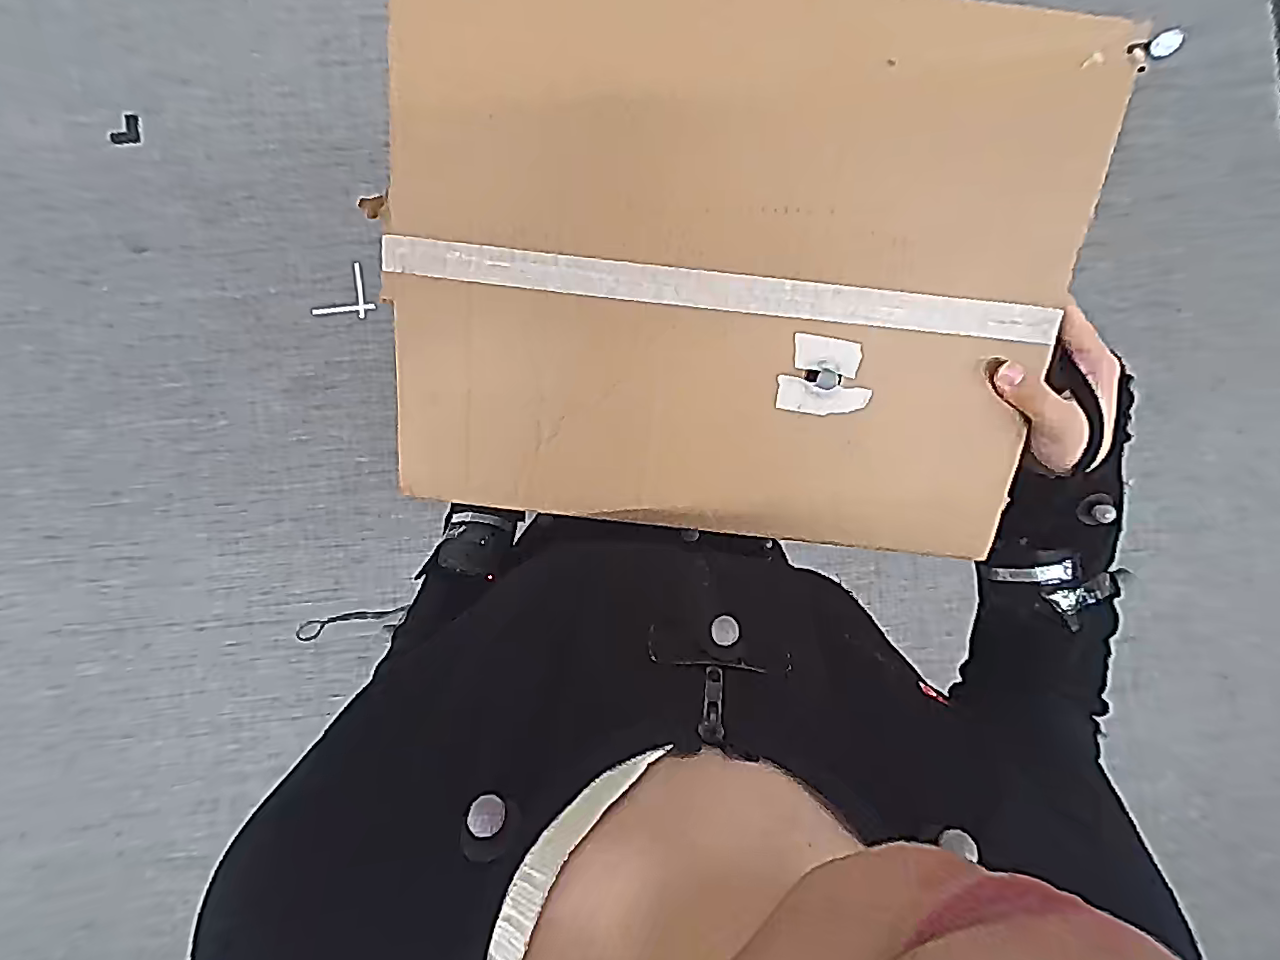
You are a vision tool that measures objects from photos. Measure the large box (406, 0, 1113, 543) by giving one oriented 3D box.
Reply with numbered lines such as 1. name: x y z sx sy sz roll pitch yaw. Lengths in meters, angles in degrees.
1. large box: 0.056 -0.156 0.481 0.408 0.320 0.320 5 107 -2
